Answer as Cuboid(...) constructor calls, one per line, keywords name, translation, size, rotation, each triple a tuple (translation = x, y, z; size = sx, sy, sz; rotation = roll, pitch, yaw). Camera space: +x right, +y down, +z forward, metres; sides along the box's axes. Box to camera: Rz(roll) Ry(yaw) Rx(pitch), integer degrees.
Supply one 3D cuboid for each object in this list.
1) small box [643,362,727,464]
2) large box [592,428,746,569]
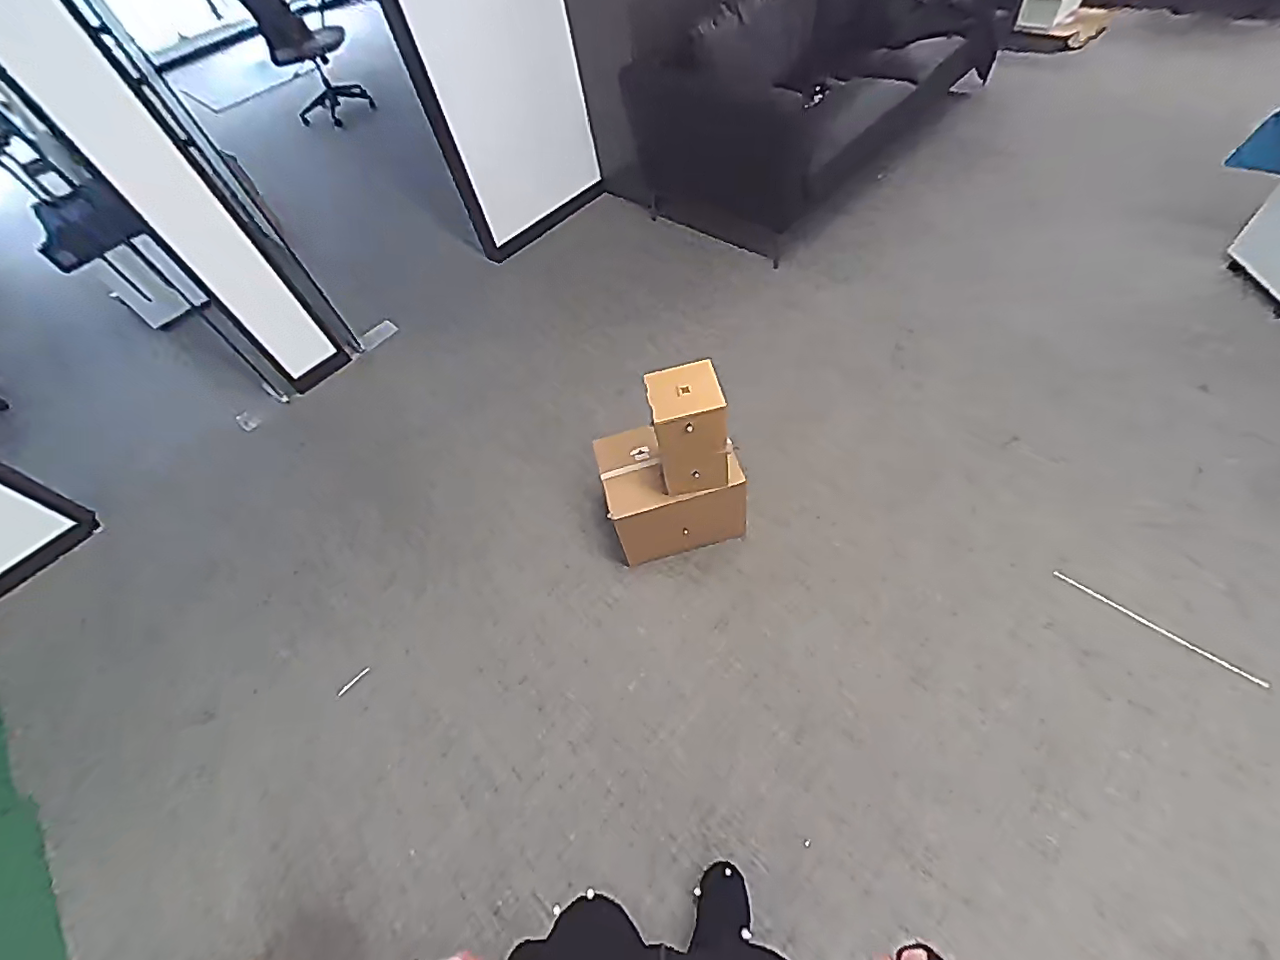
Cuboid(name="small box", translation=(0.116, -0.166, 1.368), size=(0.179, 0.176, 0.168), rotation=(-14, 55, 2))
Cuboid(name="large box", translation=(0.098, 0.038, 1.732), size=(0.408, 0.320, 0.320), rotation=(-17, 53, -1))
